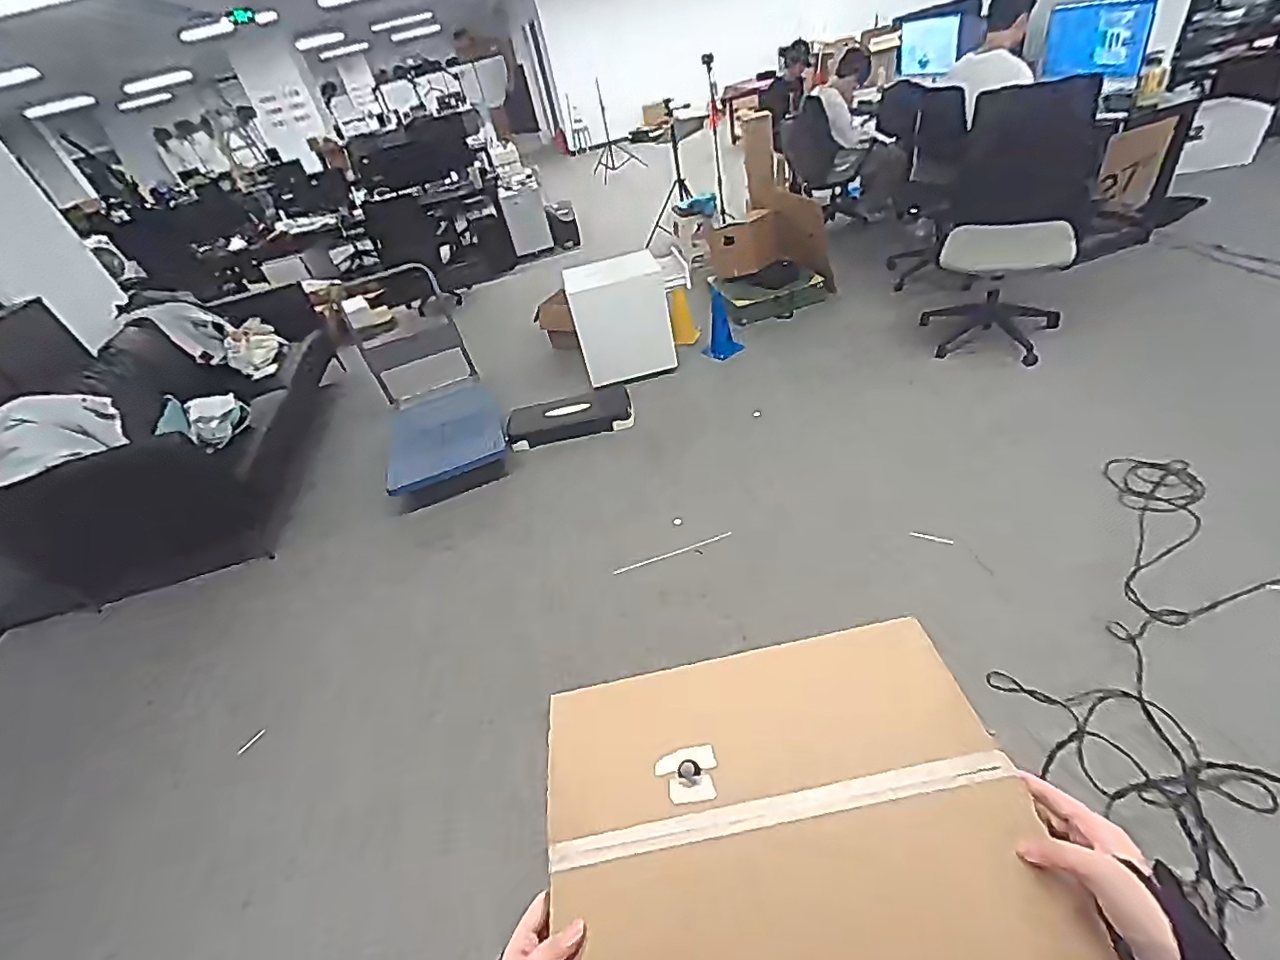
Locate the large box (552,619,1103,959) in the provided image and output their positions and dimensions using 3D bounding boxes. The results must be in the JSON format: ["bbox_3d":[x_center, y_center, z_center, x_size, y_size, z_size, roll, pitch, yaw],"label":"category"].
[{"bbox_3d":[0.148,0.406,0.580,0.408,0.320,0.320,-15,40,4],"label":"large box"}]
